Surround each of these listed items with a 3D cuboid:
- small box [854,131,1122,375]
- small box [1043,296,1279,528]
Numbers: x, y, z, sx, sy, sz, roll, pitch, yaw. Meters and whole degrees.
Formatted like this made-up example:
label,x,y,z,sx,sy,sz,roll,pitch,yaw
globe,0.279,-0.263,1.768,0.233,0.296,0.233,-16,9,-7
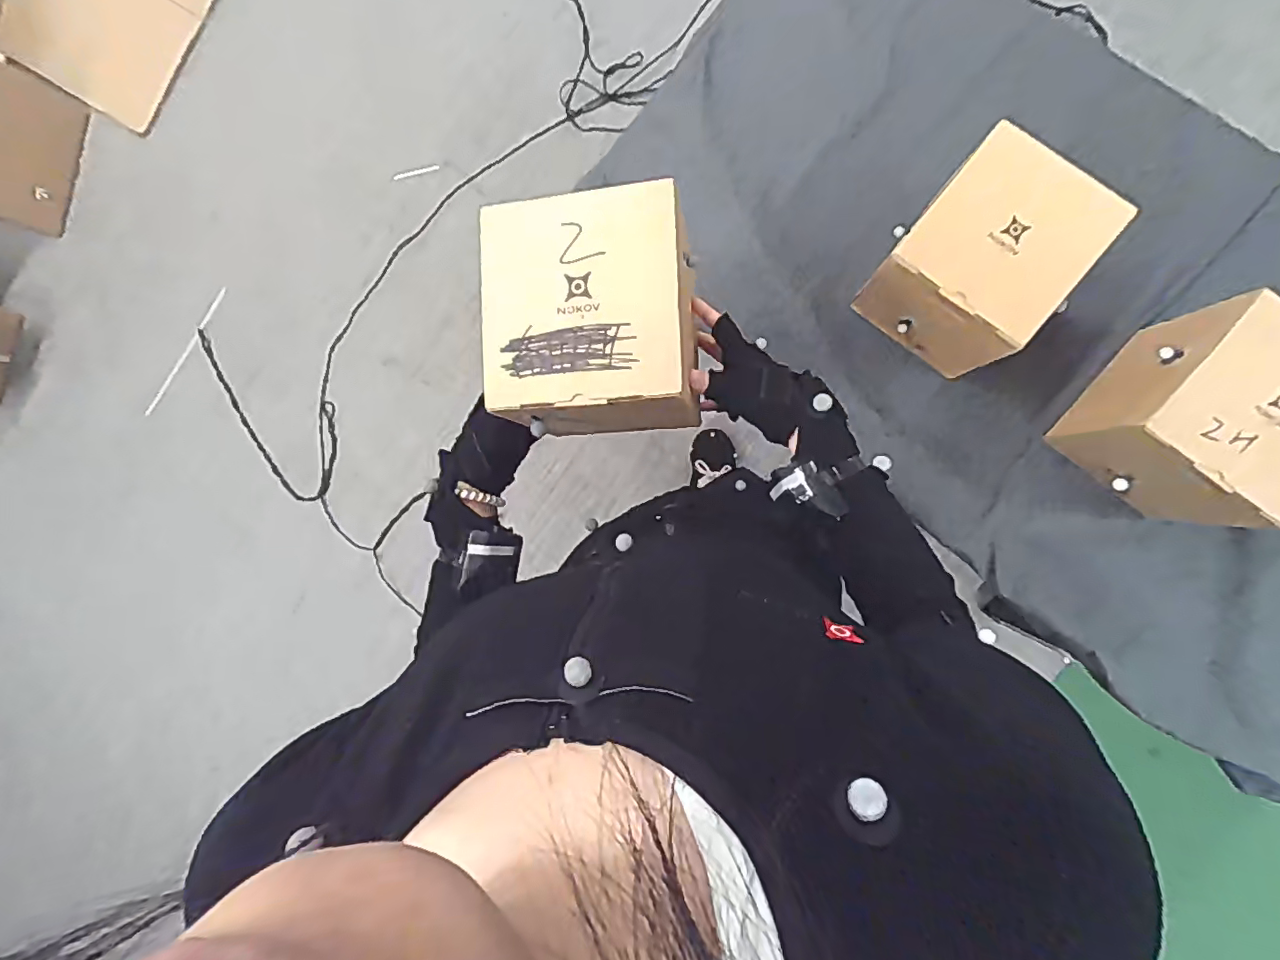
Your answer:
label,x,y,z,sx,sy,sz,roll,pitch,yaw
small box,0.387,-0.250,0.643,0.168,0.176,0.179,39,95,4
small box,0.622,-0.068,0.617,0.168,0.176,0.179,39,94,5
